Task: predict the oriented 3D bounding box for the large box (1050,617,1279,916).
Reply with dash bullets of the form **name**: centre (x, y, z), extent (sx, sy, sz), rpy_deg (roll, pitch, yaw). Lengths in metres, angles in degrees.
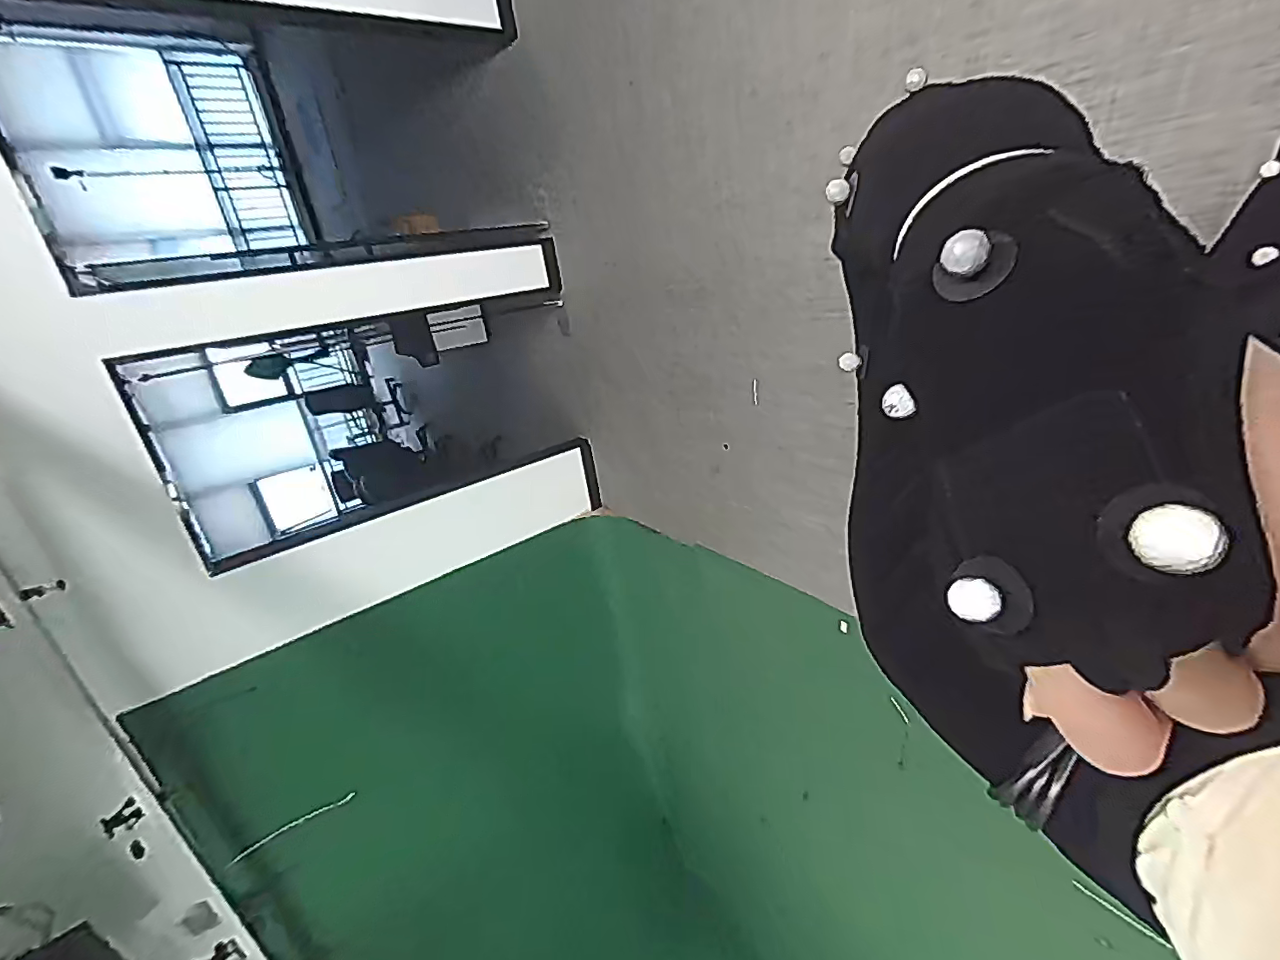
- **large box**: centre (1.126, 0.574, 1.165), extent (0.320, 0.320, 0.408), rpy_deg (14, 120, 53)
